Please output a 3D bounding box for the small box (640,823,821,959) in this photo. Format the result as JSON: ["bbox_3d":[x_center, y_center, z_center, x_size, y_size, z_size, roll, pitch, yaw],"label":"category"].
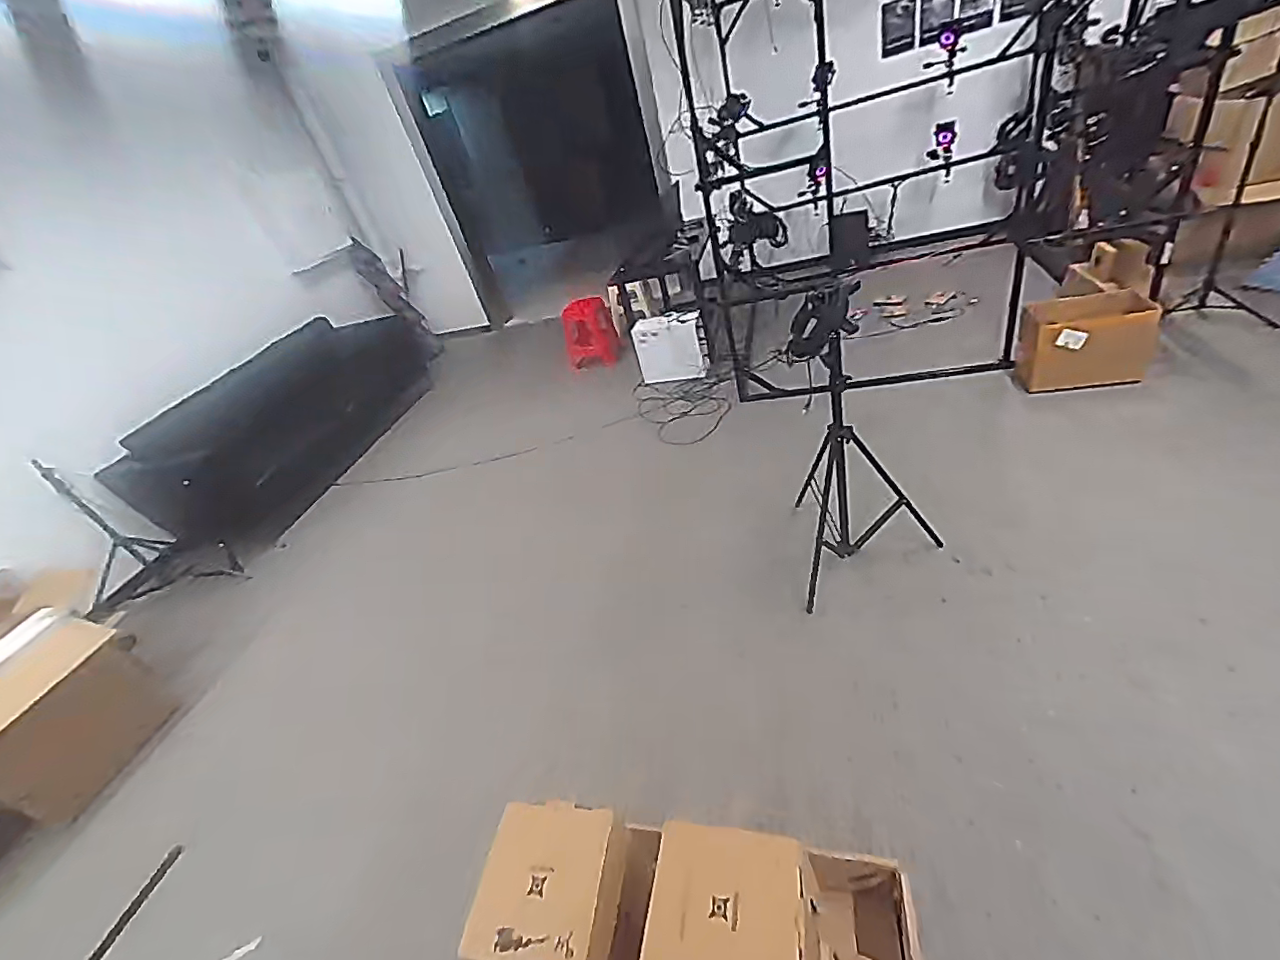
[{"bbox_3d":[0.118,0.547,0.647,0.179,0.176,0.168,-7,35,23],"label":"small box"}]

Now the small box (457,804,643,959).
[{"bbox_3d":[-0.103,0.567,0.718,0.168,0.176,0.179,-7,34,18],"label":"small box"}]
